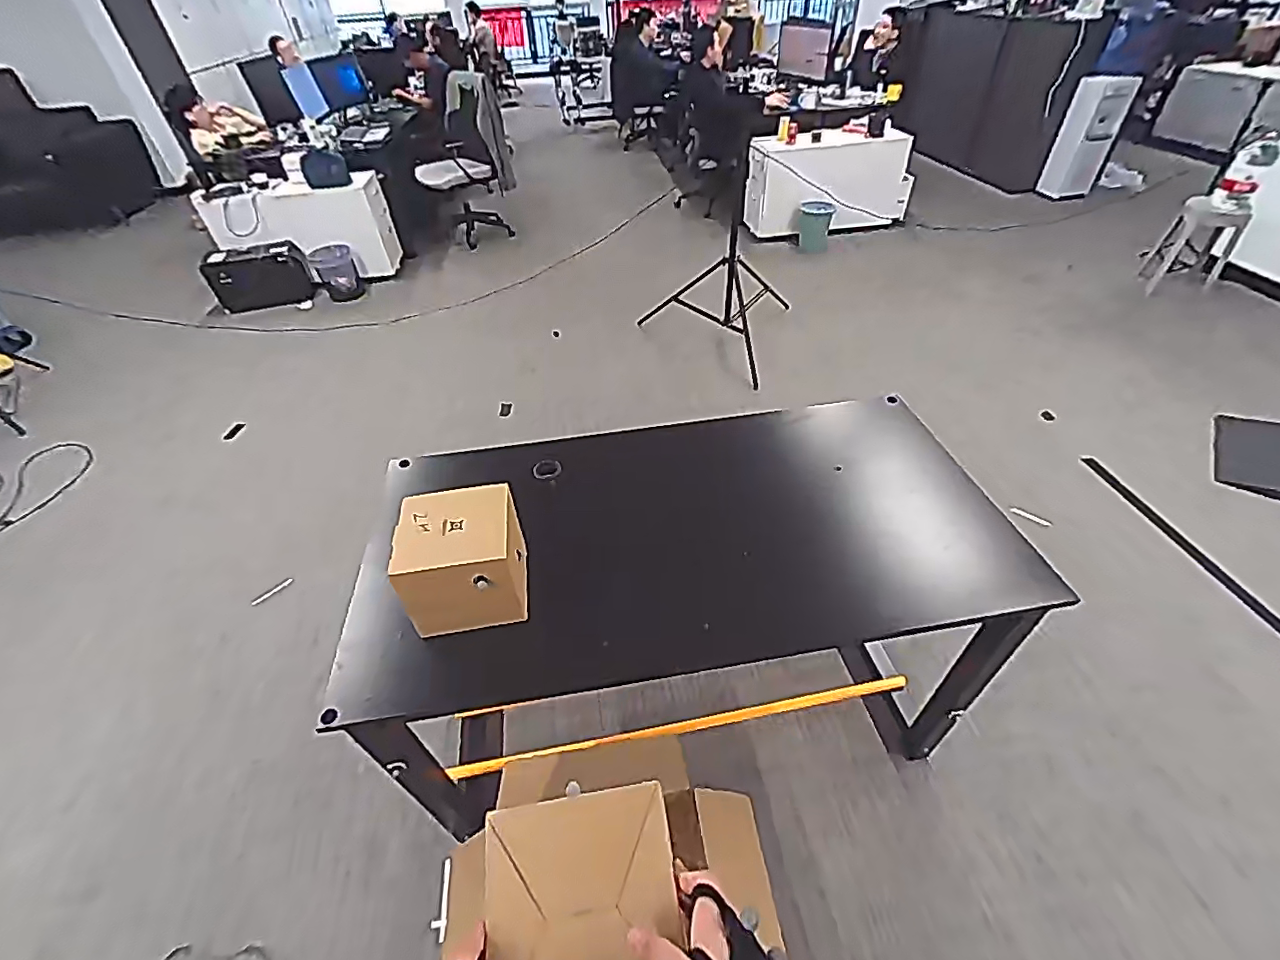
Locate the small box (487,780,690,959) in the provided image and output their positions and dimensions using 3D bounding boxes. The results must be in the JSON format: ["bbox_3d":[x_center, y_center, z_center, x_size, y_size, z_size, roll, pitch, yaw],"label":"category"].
[{"bbox_3d":[-0.045,0.411,0.525,0.168,0.176,0.179,-9,57,-3],"label":"small box"}]

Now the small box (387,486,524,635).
[{"bbox_3d":[-0.291,0.135,0.900,0.179,0.176,0.168,-8,43,-6],"label":"small box"}]
